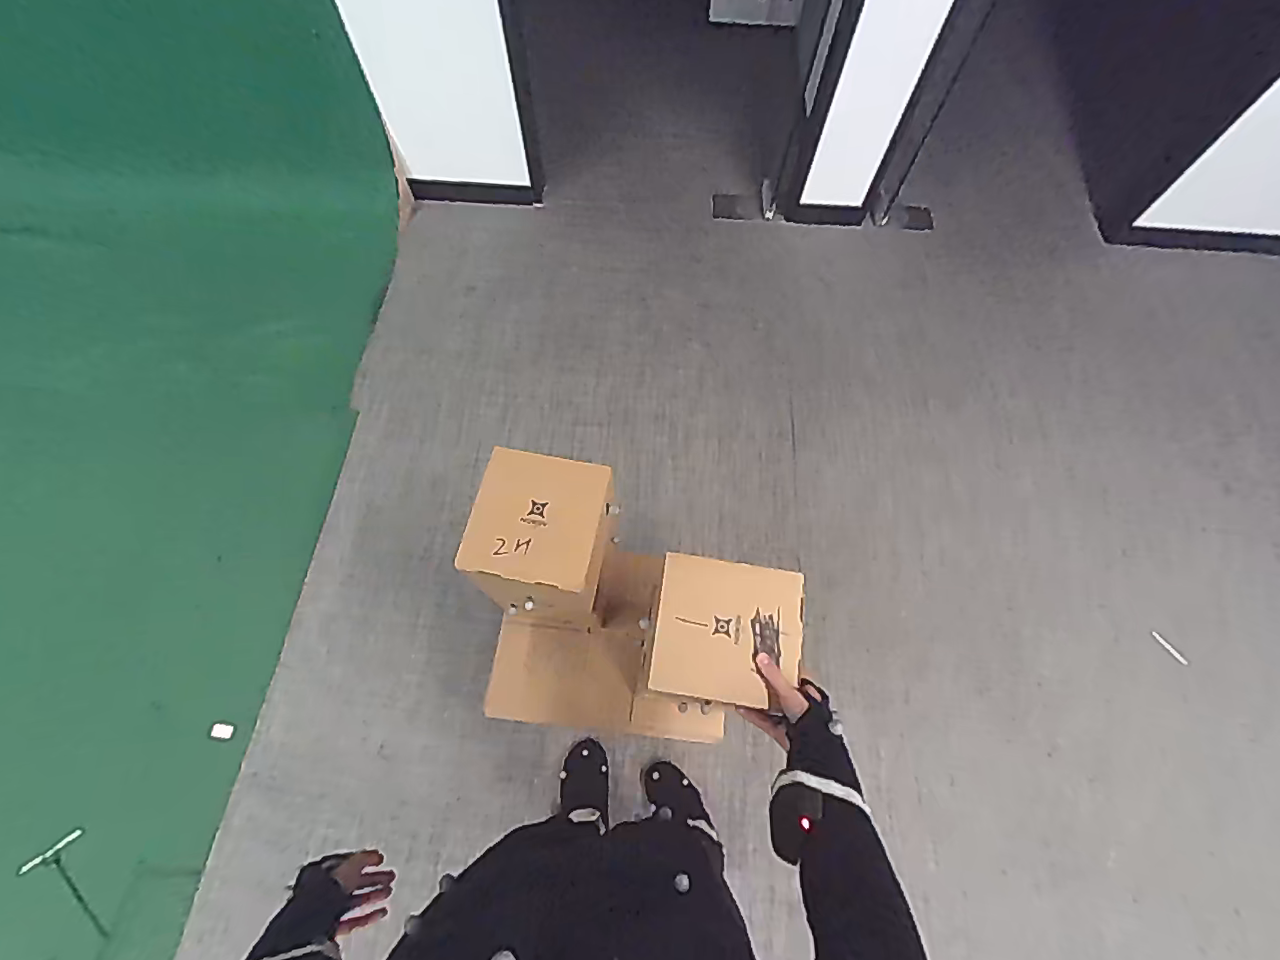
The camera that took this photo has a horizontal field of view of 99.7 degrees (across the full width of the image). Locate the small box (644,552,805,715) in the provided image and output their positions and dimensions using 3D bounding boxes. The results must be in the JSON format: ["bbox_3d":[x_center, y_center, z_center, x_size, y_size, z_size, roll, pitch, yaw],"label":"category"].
[{"bbox_3d":[0.104,0.208,0.717,0.179,0.176,0.168,9,67,2],"label":"small box"}]

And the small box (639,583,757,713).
[{"bbox_3d":[0.096,0.273,0.868,0.179,0.176,0.168,8,69,3],"label":"small box"}]

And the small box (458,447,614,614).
[{"bbox_3d":[-0.133,0.078,0.775,0.168,0.176,0.179,10,67,5],"label":"small box"}]
